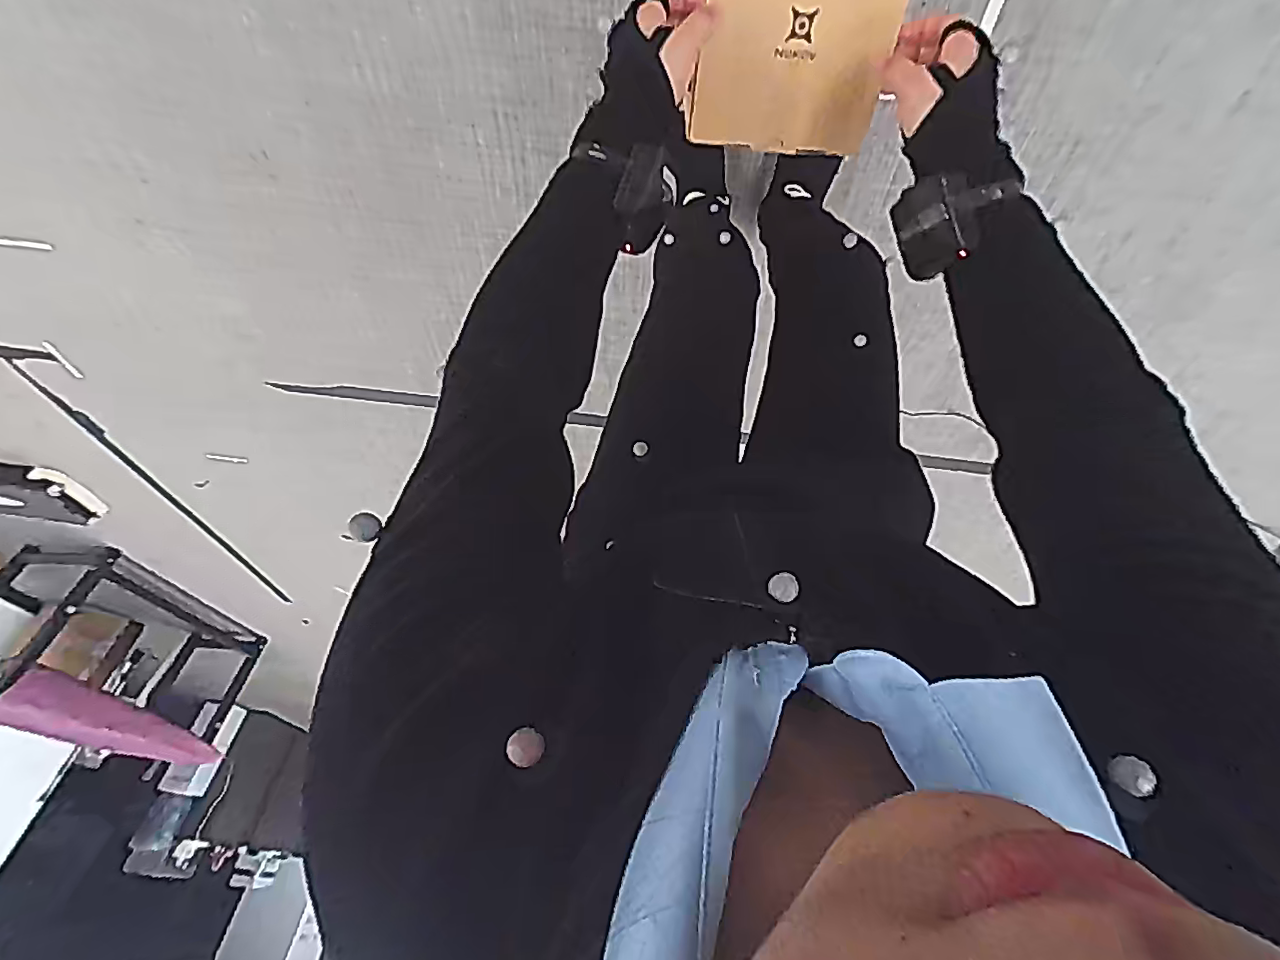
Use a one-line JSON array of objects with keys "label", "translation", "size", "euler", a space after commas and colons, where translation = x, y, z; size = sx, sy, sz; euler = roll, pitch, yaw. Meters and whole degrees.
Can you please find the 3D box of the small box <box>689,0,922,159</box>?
[{"label": "small box", "translation": [0.138, -0.422, 0.493], "size": [0.168, 0.176, 0.179], "euler": [3, 139, -2]}]
